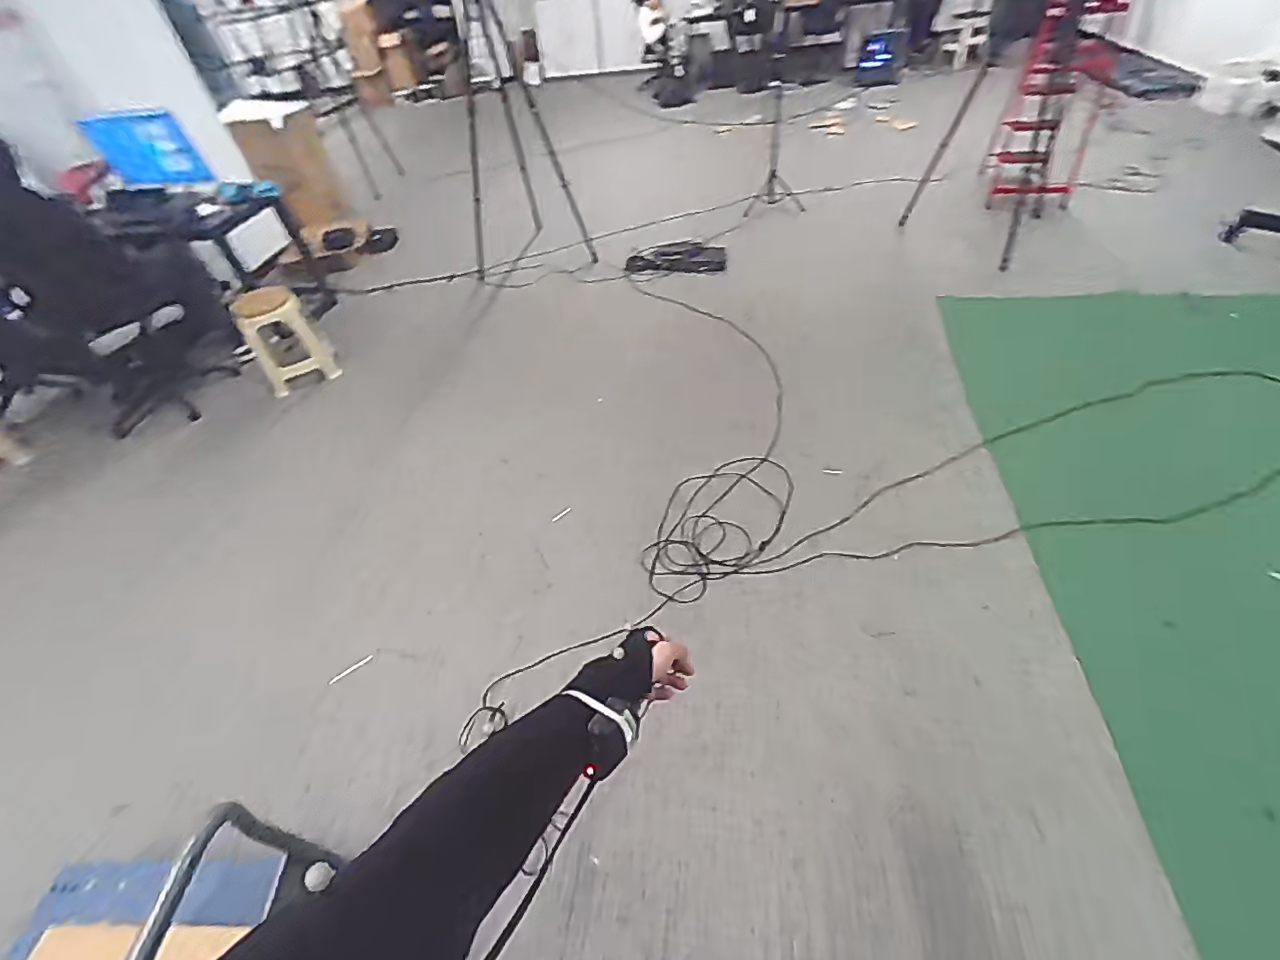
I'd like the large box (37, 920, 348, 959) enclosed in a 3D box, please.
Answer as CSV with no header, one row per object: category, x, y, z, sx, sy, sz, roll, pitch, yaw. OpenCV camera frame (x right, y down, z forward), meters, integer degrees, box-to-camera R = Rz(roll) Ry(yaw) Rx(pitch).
large box,-0.824,0.989,0.951,0.408,0.320,0.320,-3,46,5
